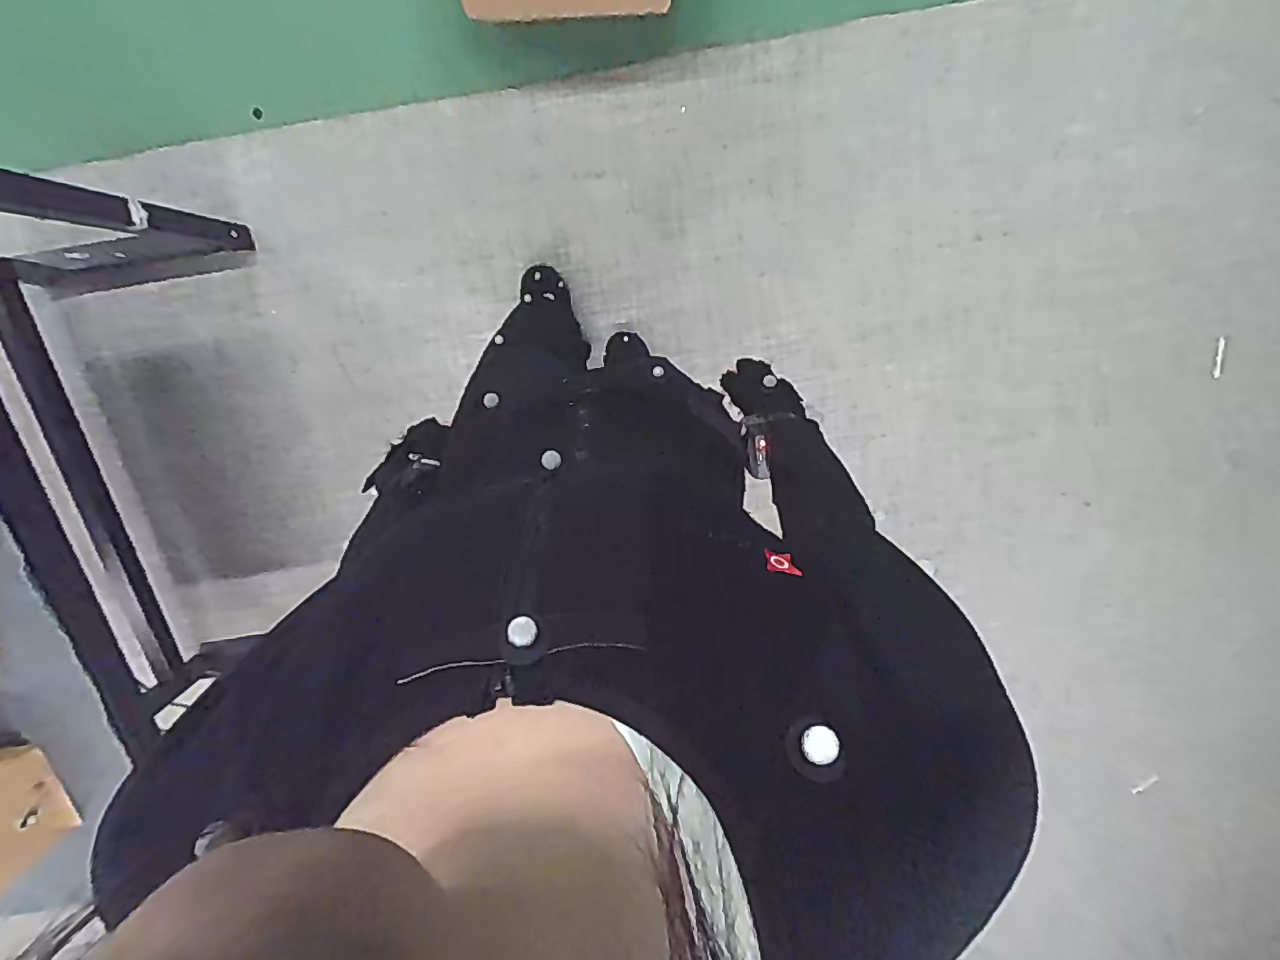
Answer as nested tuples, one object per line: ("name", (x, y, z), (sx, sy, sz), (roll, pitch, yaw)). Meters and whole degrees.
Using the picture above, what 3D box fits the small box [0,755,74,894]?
("small box", (-1.023, 0.539, 0.796), (0.179, 0.176, 0.168), (-9, 105, 3))
